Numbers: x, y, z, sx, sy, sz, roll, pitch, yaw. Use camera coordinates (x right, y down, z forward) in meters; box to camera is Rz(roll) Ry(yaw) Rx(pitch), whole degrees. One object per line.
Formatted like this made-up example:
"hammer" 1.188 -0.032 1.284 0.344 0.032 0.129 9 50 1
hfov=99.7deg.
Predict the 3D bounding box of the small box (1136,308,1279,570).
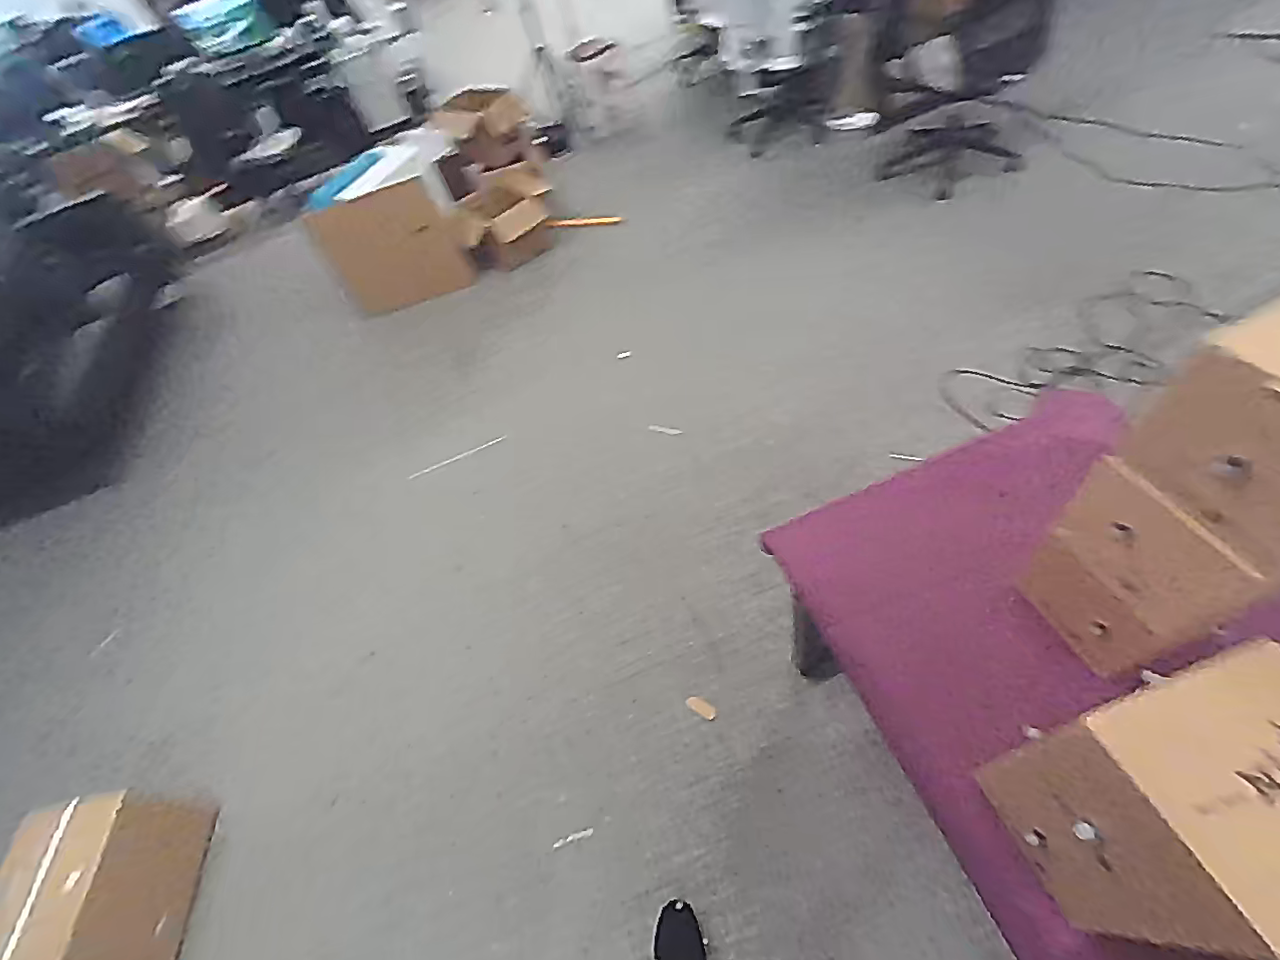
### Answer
"small box" 0.601 -0.047 0.476 0.179 0.176 0.168 -23 53 -1

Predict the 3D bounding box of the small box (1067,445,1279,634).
"small box" 0.632 0.048 0.607 0.179 0.176 0.168 -23 53 -2

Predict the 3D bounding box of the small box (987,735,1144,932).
"small box" 0.526 0.369 0.603 0.179 0.176 0.168 -21 53 -1

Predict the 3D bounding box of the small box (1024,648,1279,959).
"small box" 0.491 0.276 0.473 0.179 0.176 0.168 -21 52 -1

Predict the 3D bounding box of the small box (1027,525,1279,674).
"small box" 0.671 0.139 0.734 0.179 0.176 0.168 -22 53 -1
